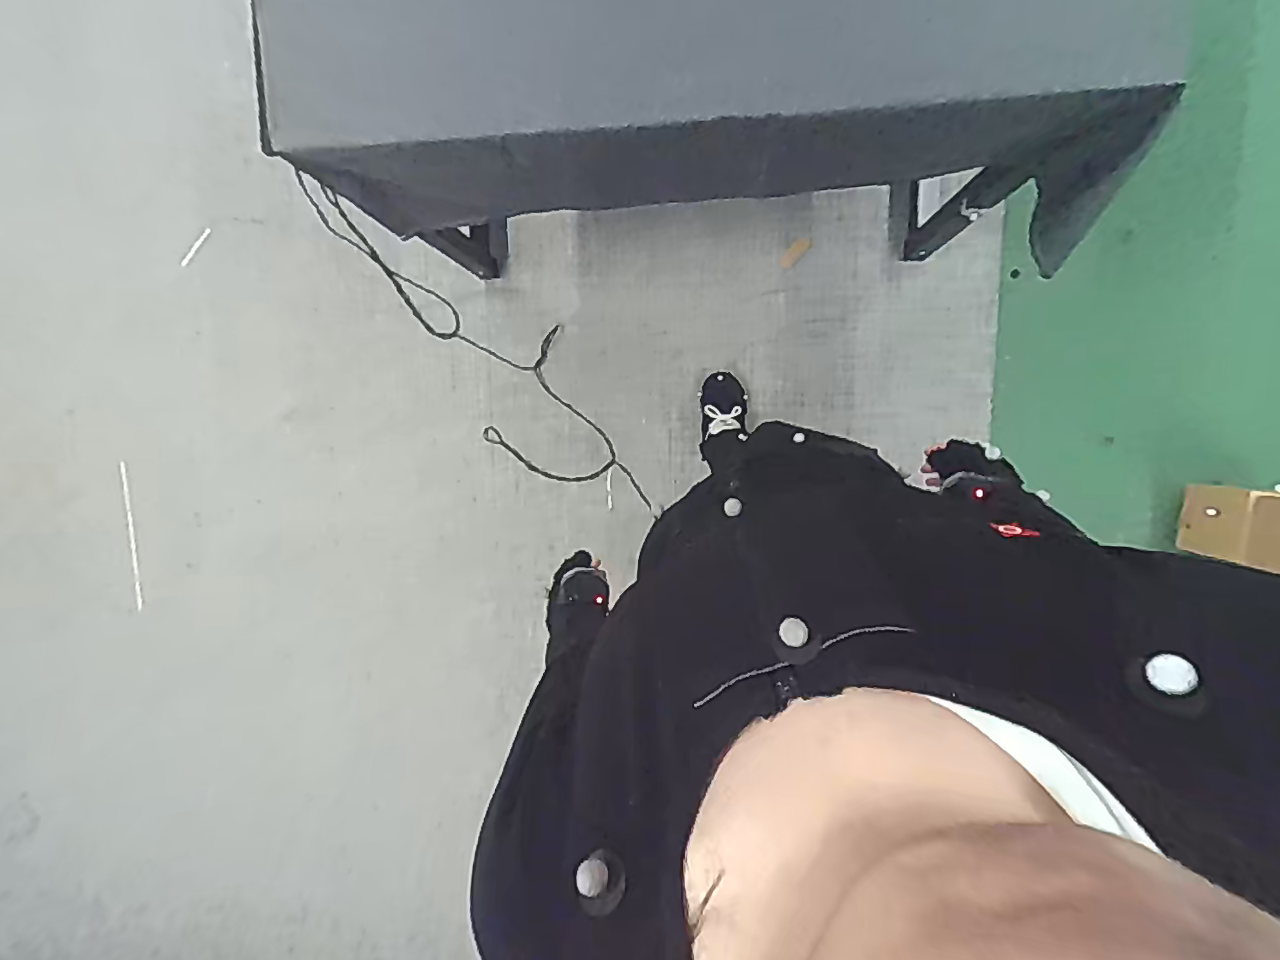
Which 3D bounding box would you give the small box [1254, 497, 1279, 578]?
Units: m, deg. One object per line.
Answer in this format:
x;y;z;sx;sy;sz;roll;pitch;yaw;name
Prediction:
1.421;0.130;1.093;0.168;0.176;0.179;4;95;6;small box

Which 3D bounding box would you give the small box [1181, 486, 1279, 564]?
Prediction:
1.429;0.107;1.257;0.179;0.176;0.168;5;95;5;small box
